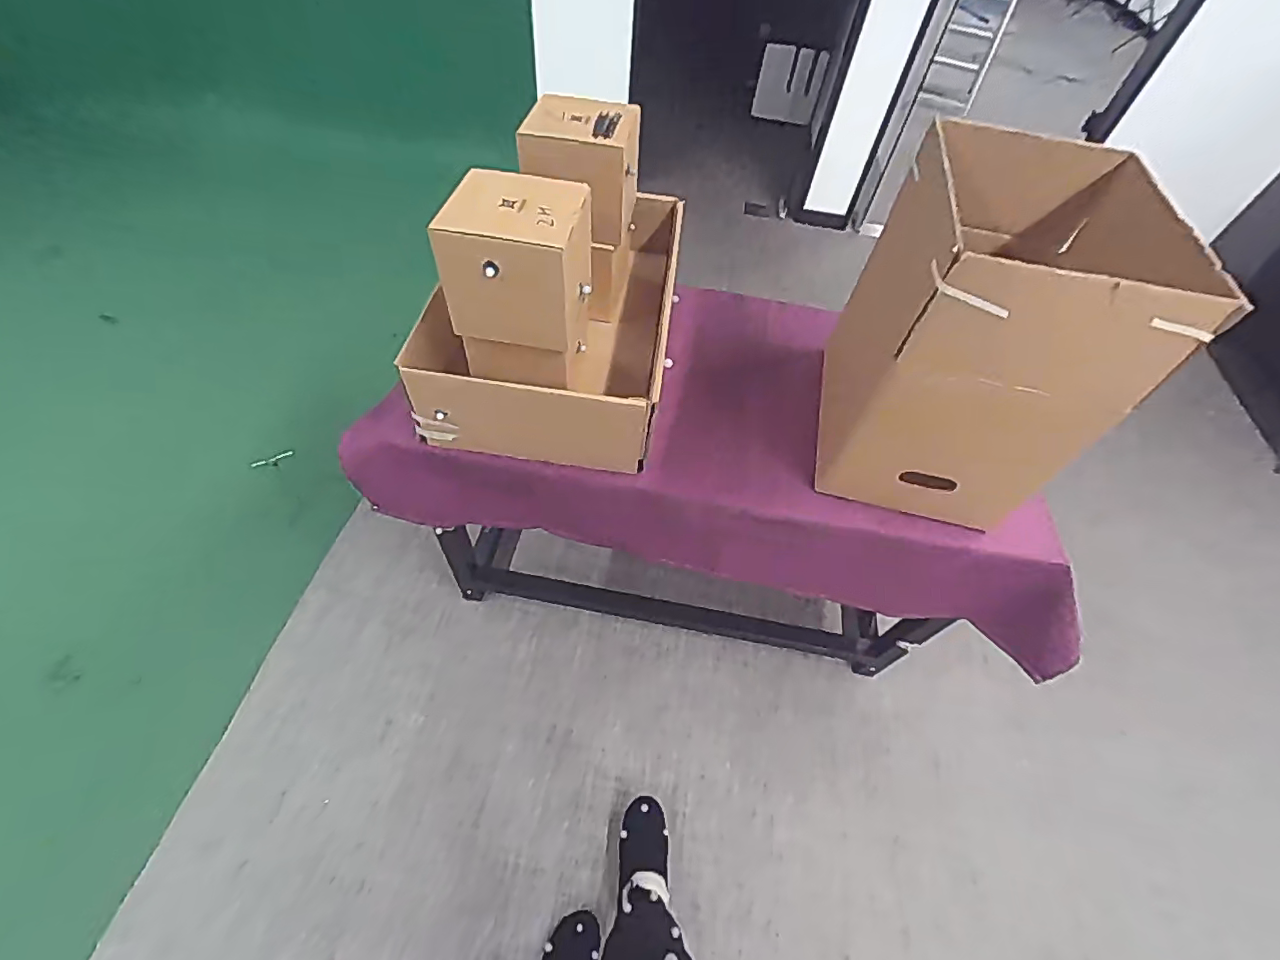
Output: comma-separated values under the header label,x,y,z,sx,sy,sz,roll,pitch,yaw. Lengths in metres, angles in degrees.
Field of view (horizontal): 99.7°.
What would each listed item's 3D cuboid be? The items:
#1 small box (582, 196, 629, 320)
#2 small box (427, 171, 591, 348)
label,x,y,z,sx,sy,sz,roll,pitch,yaw
small box,-0.119,-0.448,1.088,0.168,0.176,0.179,10,55,3
small box,-0.173,-0.313,0.781,0.179,0.176,0.168,10,55,2
